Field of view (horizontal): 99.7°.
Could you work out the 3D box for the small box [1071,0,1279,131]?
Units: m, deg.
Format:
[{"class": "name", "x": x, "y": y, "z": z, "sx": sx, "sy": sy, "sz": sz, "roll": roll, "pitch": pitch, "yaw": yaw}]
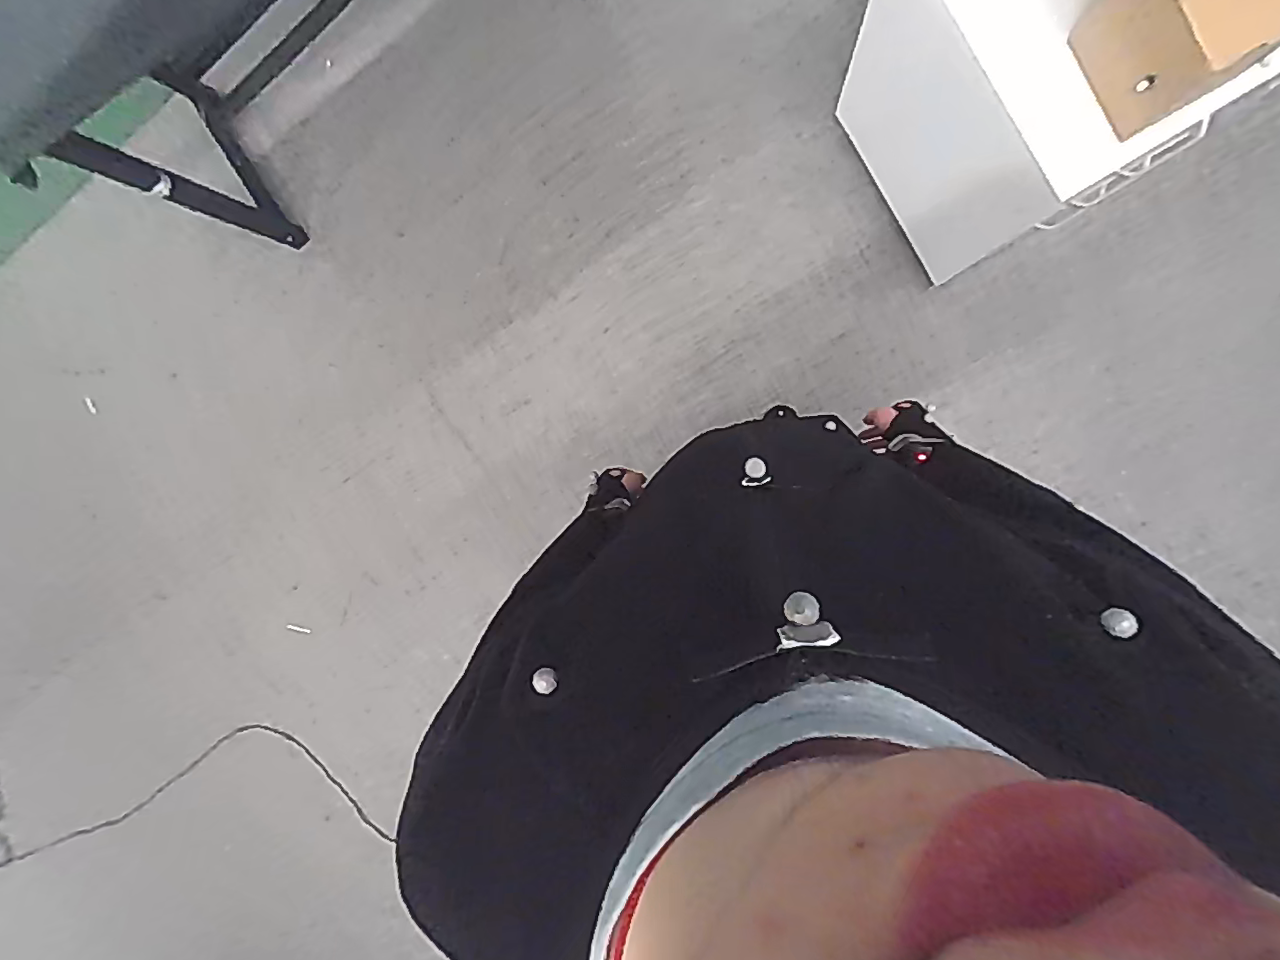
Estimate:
[{"class": "small box", "x": 0.718, "y": -0.593, "z": 0.695, "sx": 0.168, "sy": 0.176, "sz": 0.179, "roll": -29, "pitch": 89, "yaw": 12}]
